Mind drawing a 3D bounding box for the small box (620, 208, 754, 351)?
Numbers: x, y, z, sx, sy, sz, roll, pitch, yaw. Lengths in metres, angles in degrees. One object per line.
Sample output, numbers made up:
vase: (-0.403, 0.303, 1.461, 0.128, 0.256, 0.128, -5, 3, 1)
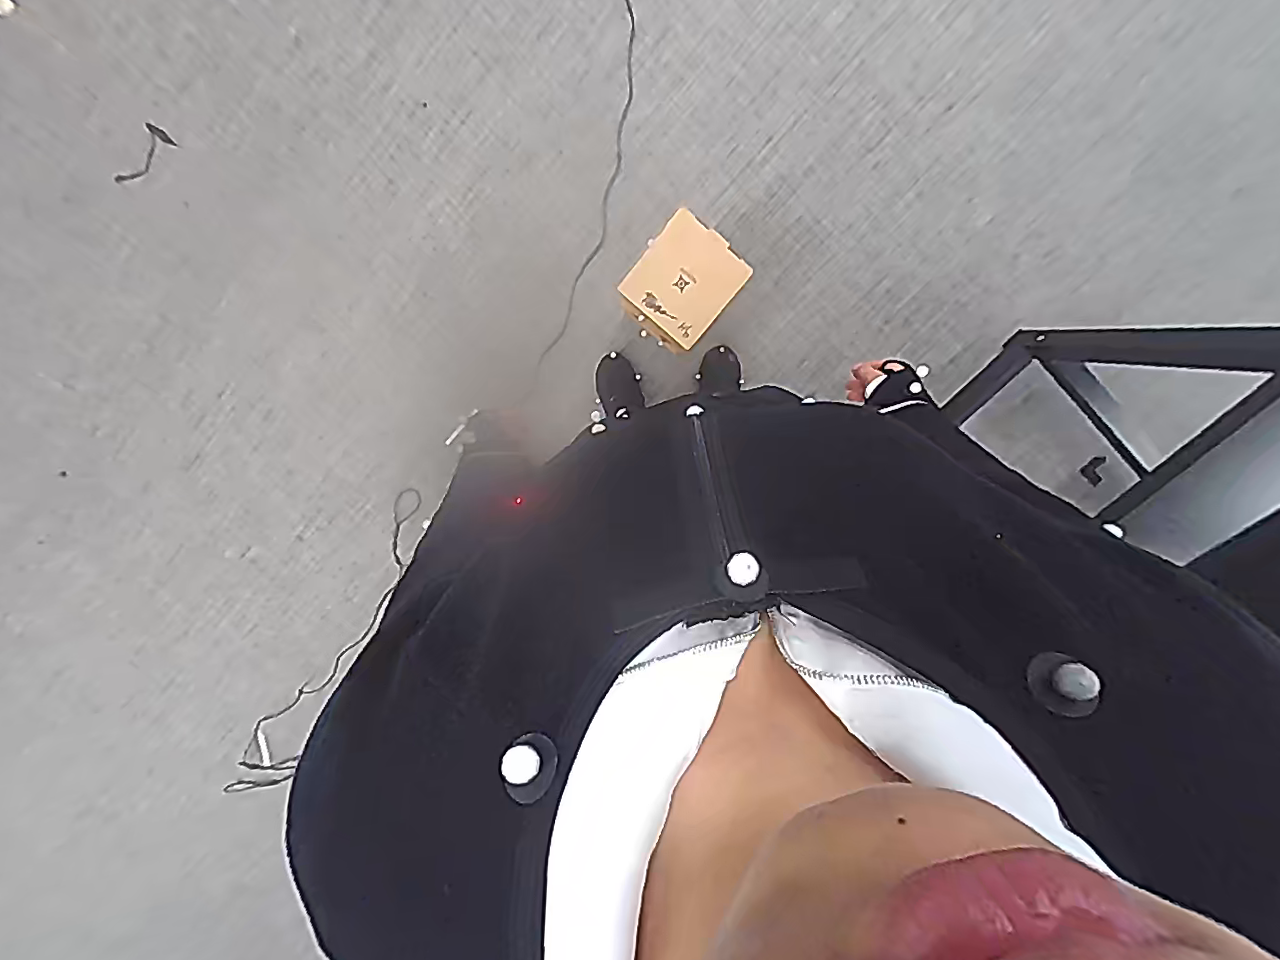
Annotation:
small box: (0.080, -0.360, 1.003, 0.168, 0.176, 0.179, 39, 101, -7)

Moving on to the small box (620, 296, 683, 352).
small box: (0.075, -0.394, 1.166, 0.168, 0.176, 0.179, 35, 101, -8)
